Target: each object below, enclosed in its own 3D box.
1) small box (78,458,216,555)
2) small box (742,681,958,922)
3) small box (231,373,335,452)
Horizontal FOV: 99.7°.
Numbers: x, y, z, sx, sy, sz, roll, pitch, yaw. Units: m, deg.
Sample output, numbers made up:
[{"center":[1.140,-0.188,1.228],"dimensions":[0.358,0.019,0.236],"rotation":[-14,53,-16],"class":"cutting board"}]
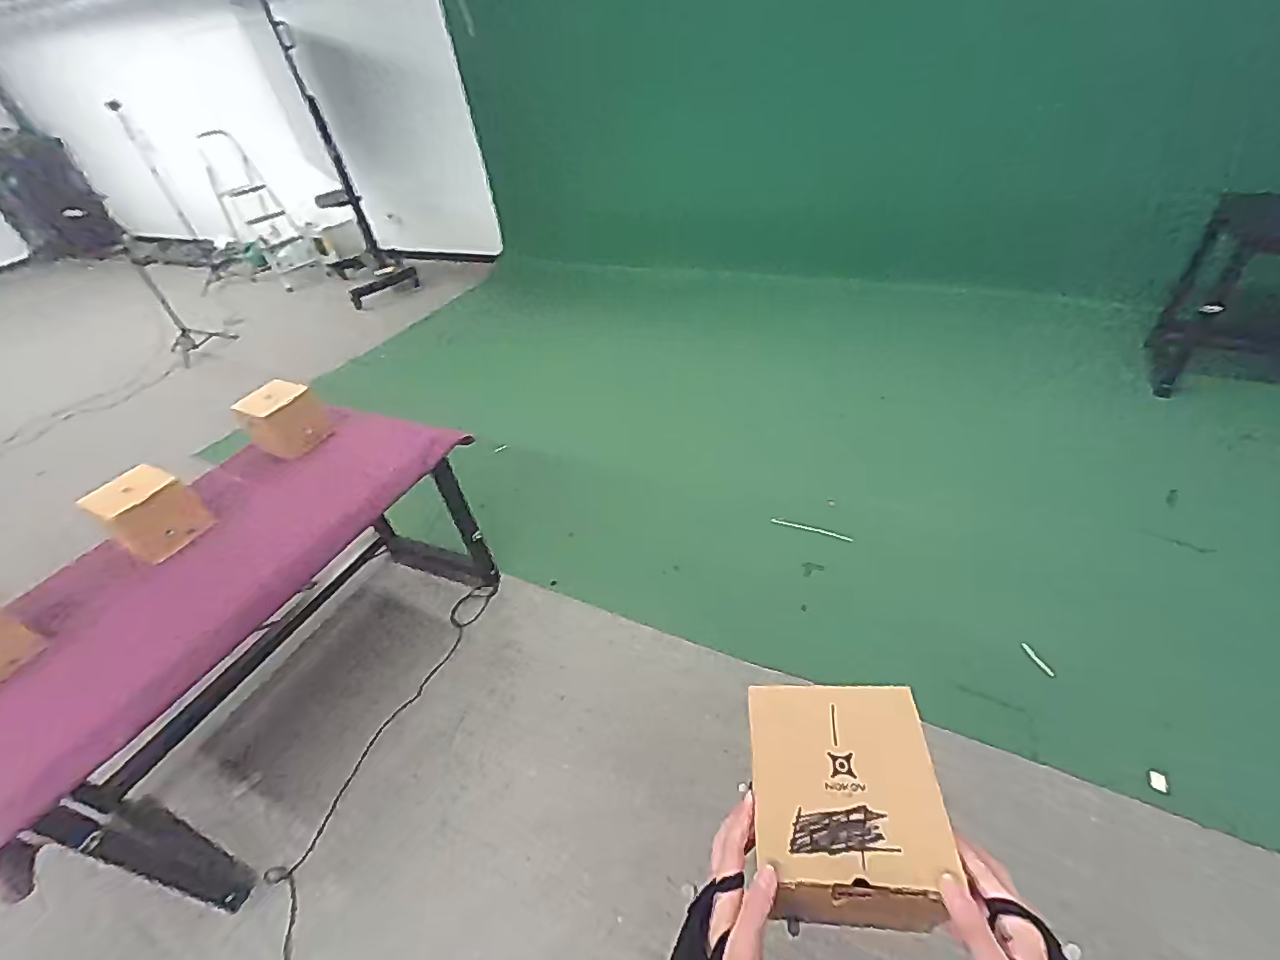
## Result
[{"center":[-1.273,0.070,1.406],"dimensions":[0.179,0.176,0.168],"rotation":[15,46,23],"class":"small box"},{"center":[0.194,0.328,0.554],"dimensions":[0.168,0.176,0.179],"rotation":[-3,43,9],"class":"small box"},{"center":[-1.107,-0.208,1.687],"dimensions":[0.179,0.176,0.168],"rotation":[15,49,23],"class":"small box"}]
